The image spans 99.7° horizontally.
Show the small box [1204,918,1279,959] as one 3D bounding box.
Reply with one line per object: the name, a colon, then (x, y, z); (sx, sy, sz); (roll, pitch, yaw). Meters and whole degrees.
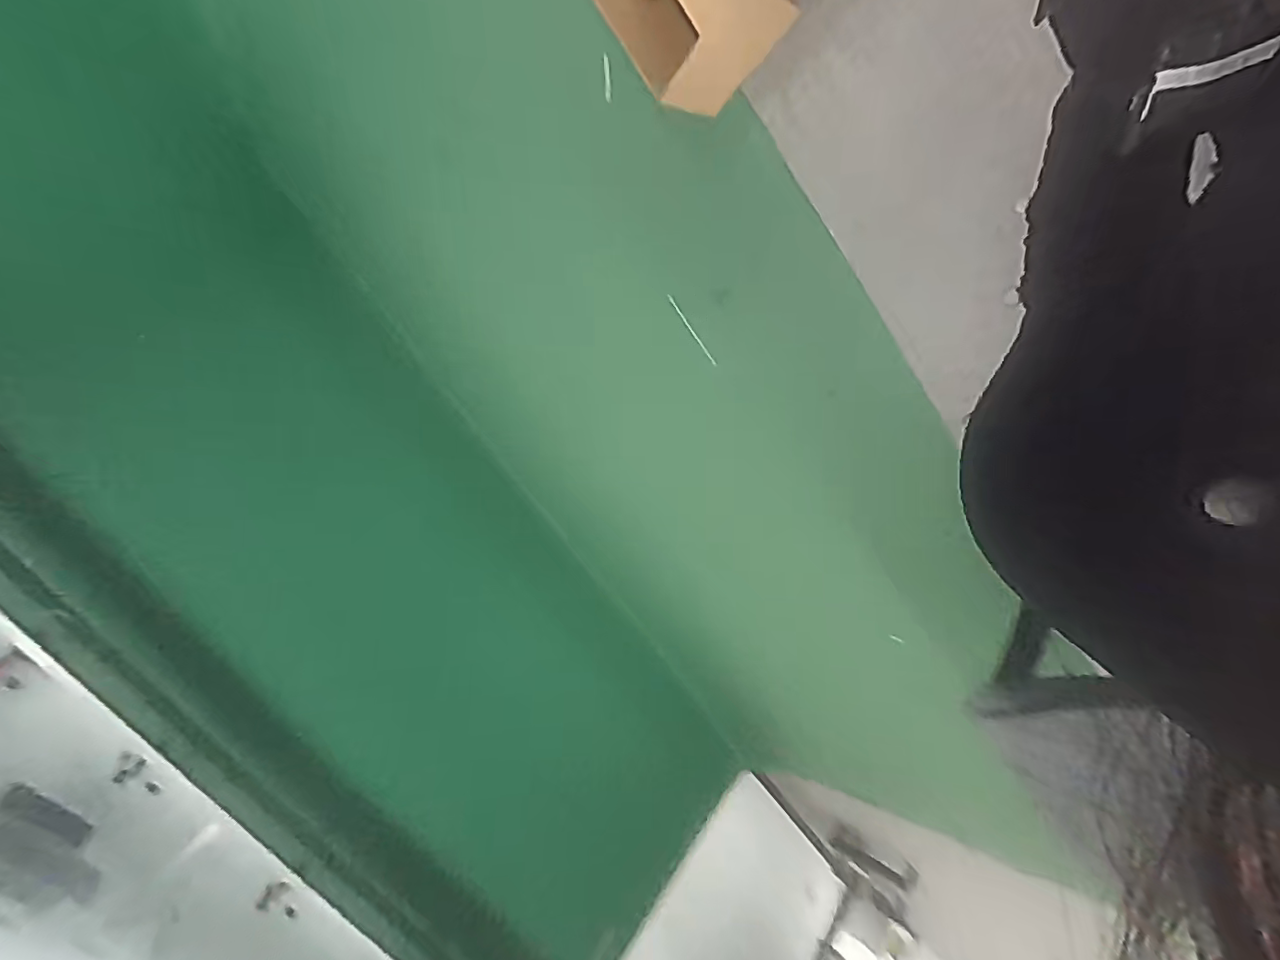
small box: (0.930, 0.770, 0.751); (0.168, 0.176, 0.179); (50, 151, -9)
